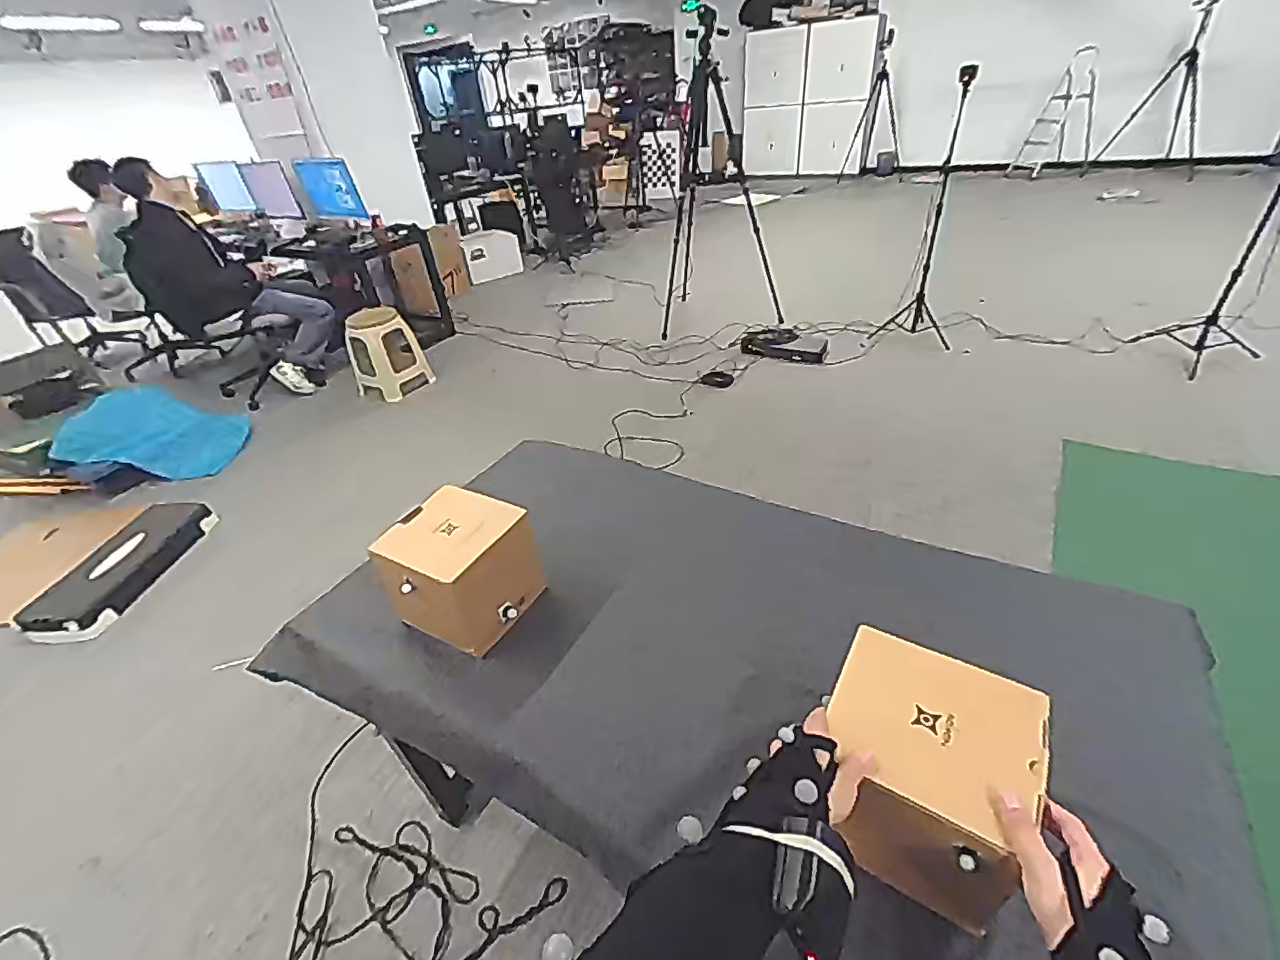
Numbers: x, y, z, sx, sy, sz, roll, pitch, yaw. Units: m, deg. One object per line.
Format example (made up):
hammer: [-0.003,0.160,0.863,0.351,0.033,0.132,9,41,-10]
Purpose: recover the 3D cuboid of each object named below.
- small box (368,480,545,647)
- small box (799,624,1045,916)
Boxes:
small box: [-0.274,0.128,0.840,0.179,0.176,0.168,16,43,25]
small box: [0.274,0.286,0.547,0.179,0.176,0.168,18,42,29]
